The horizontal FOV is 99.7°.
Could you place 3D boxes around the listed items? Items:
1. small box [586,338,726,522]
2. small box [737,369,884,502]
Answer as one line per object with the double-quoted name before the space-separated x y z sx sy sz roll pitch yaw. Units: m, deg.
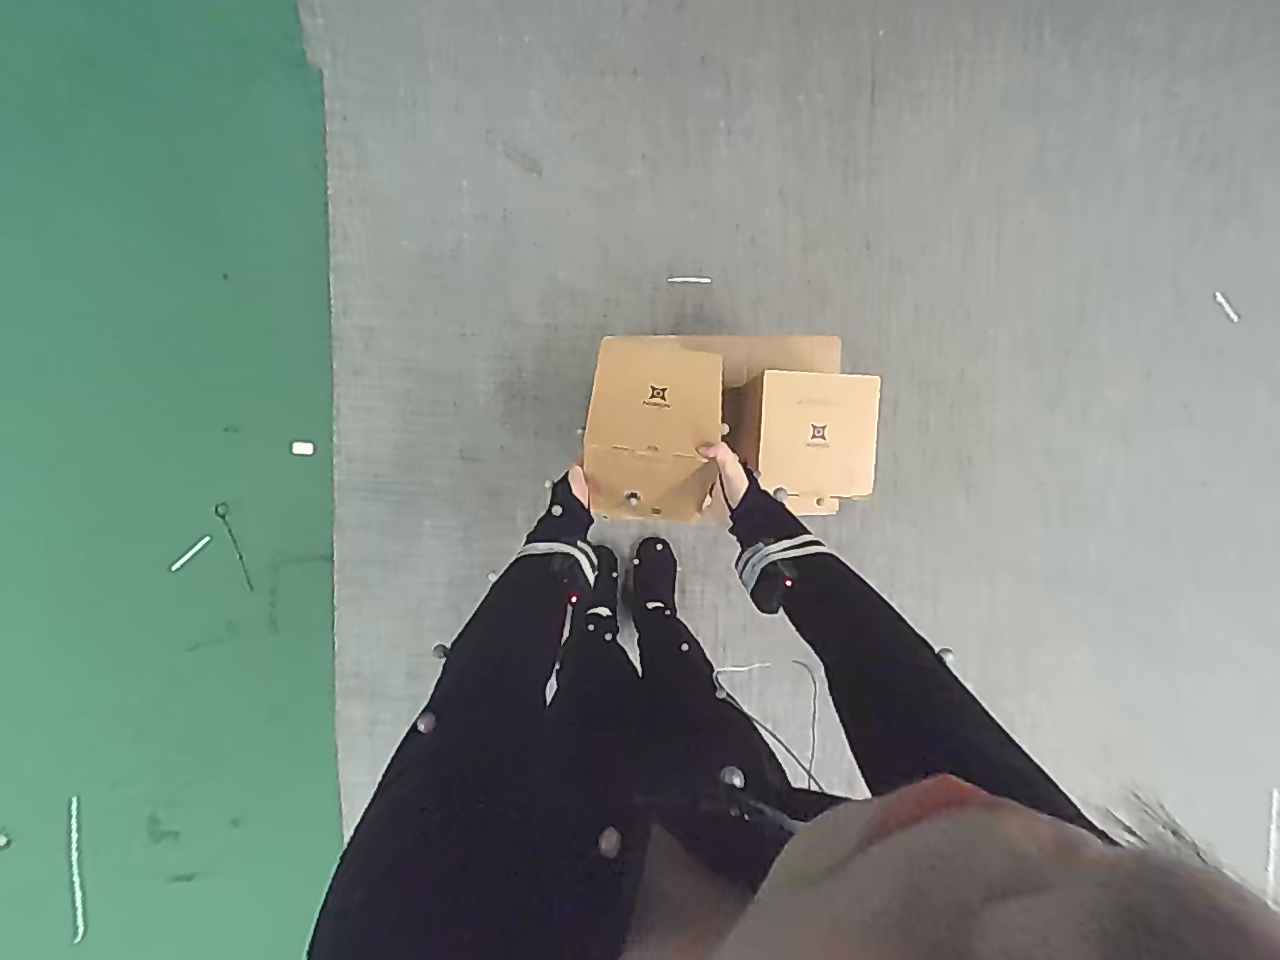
"small box" 0.018 -0.064 0.746 0.168 0.176 0.179 7 59 -2
"small box" 0.247 -0.064 0.822 0.168 0.176 0.179 3 91 -2
